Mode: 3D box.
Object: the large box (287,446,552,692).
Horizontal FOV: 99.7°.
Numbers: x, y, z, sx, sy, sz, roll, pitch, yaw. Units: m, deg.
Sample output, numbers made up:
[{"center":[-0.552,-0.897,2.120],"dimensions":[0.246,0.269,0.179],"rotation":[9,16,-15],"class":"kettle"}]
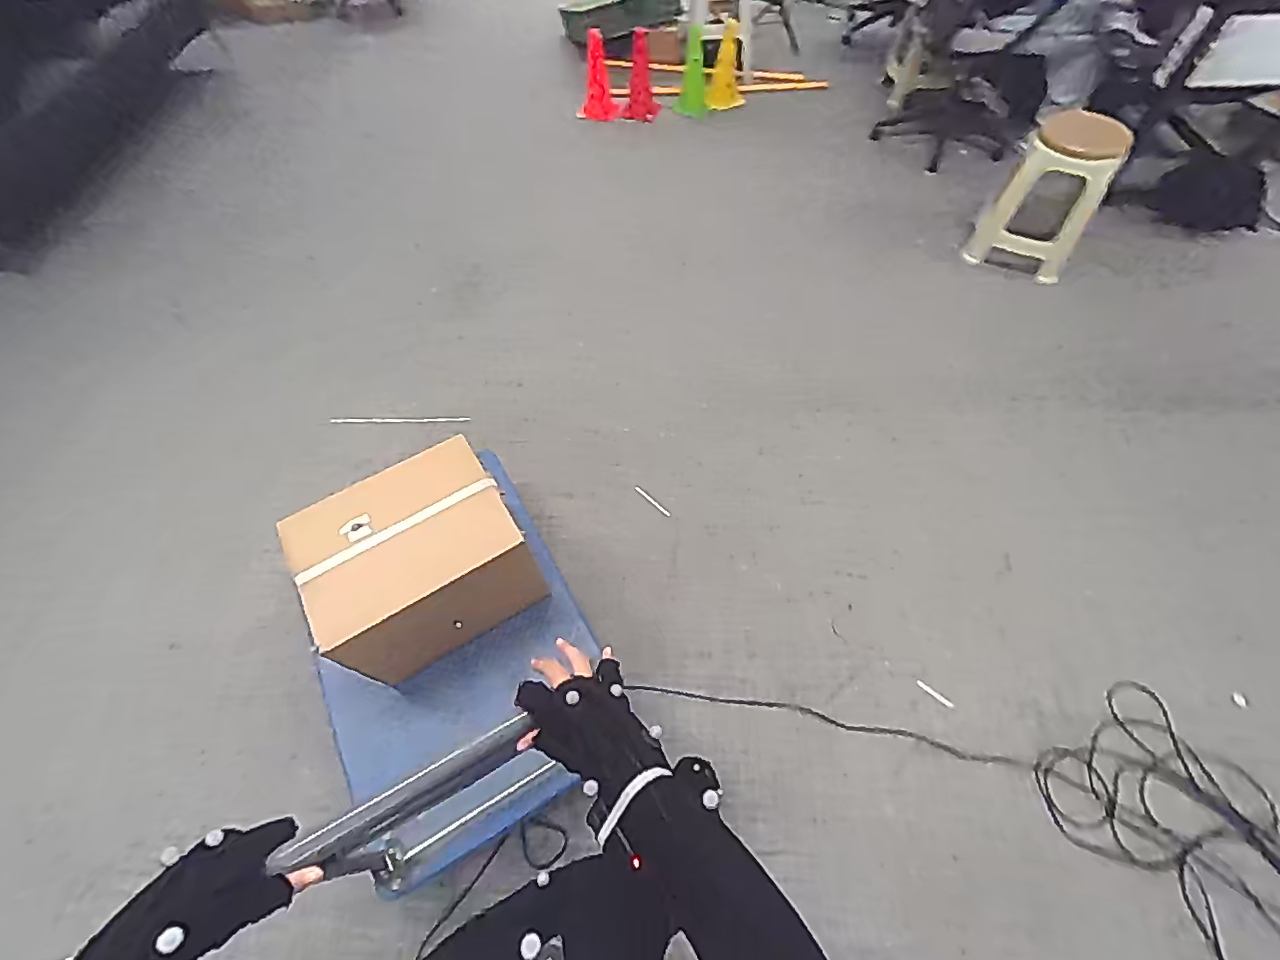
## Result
[{"center":[-0.460,0.201,1.198],"dimensions":[0.408,0.320,0.320],"rotation":[-29,61,-15],"class":"large box"}]
